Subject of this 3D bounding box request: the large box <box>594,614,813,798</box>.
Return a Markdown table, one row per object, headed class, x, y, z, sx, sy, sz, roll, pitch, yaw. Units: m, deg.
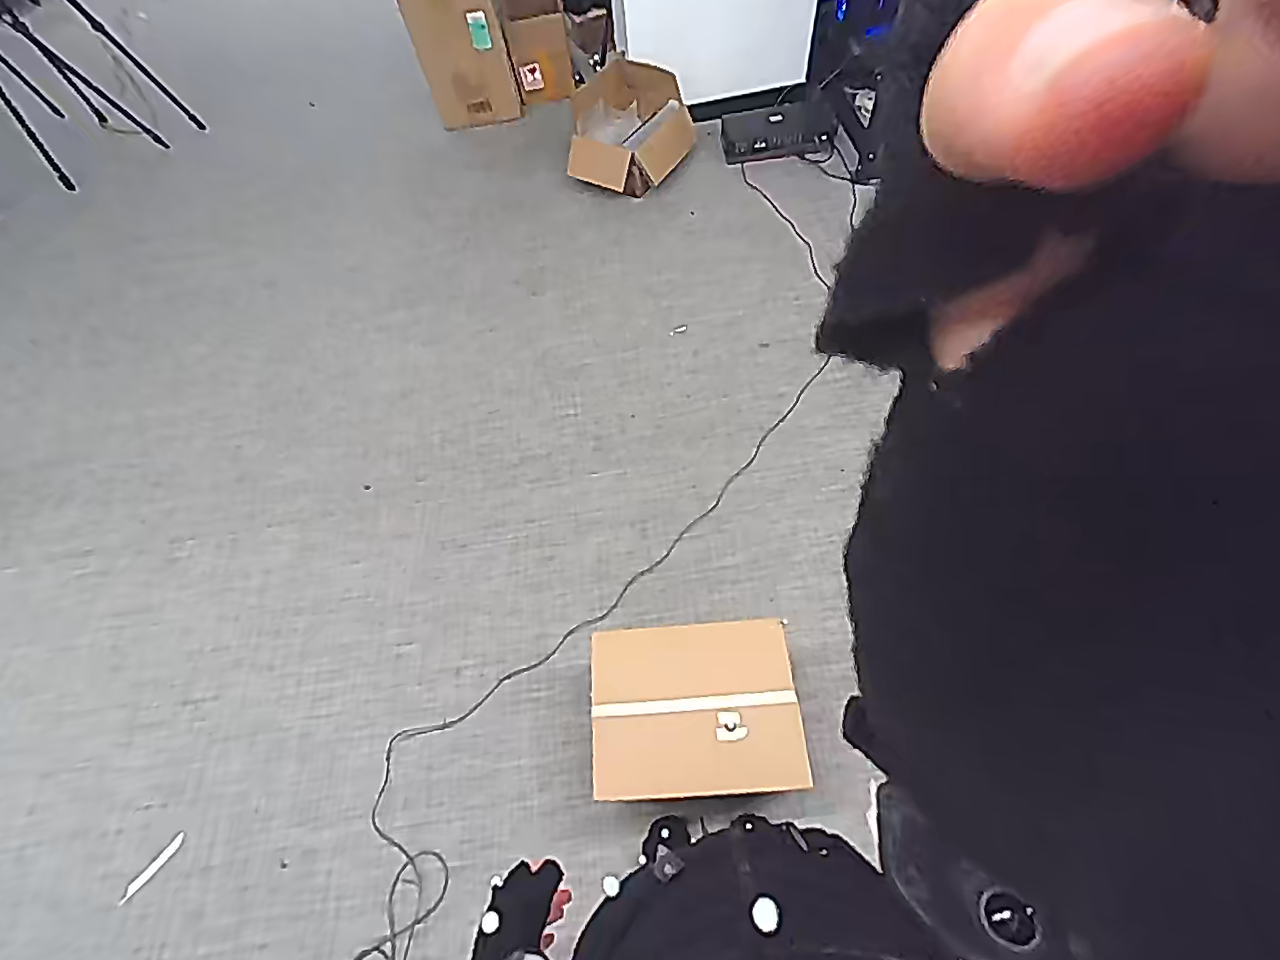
| class | x | y | z | sx | sy | sz | roll | pitch | yaw |
| --- | --- | --- | --- | --- | --- | --- | --- | --- | --- |
| large box | 0.121 | 0.508 | 1.194 | 0.408 | 0.320 | 0.320 | -5 | 60 | 2 |
